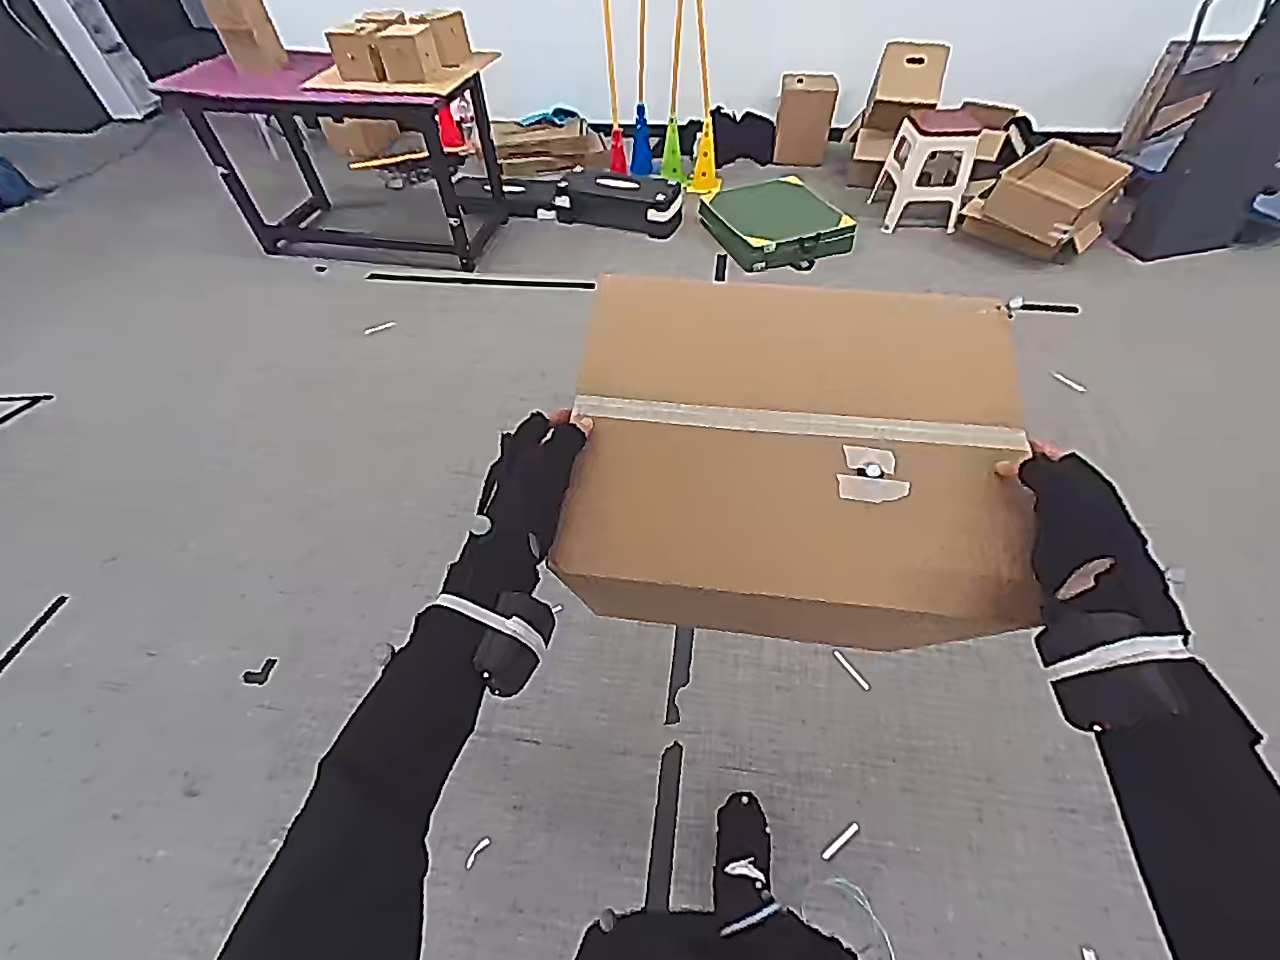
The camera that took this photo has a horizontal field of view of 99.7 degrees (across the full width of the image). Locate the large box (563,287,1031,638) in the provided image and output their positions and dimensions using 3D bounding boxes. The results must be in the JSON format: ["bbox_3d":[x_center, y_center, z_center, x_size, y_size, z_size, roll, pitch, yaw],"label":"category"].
[{"bbox_3d":[0.147,0.002,0.651,0.408,0.320,0.320,5,70,5],"label":"large box"}]
